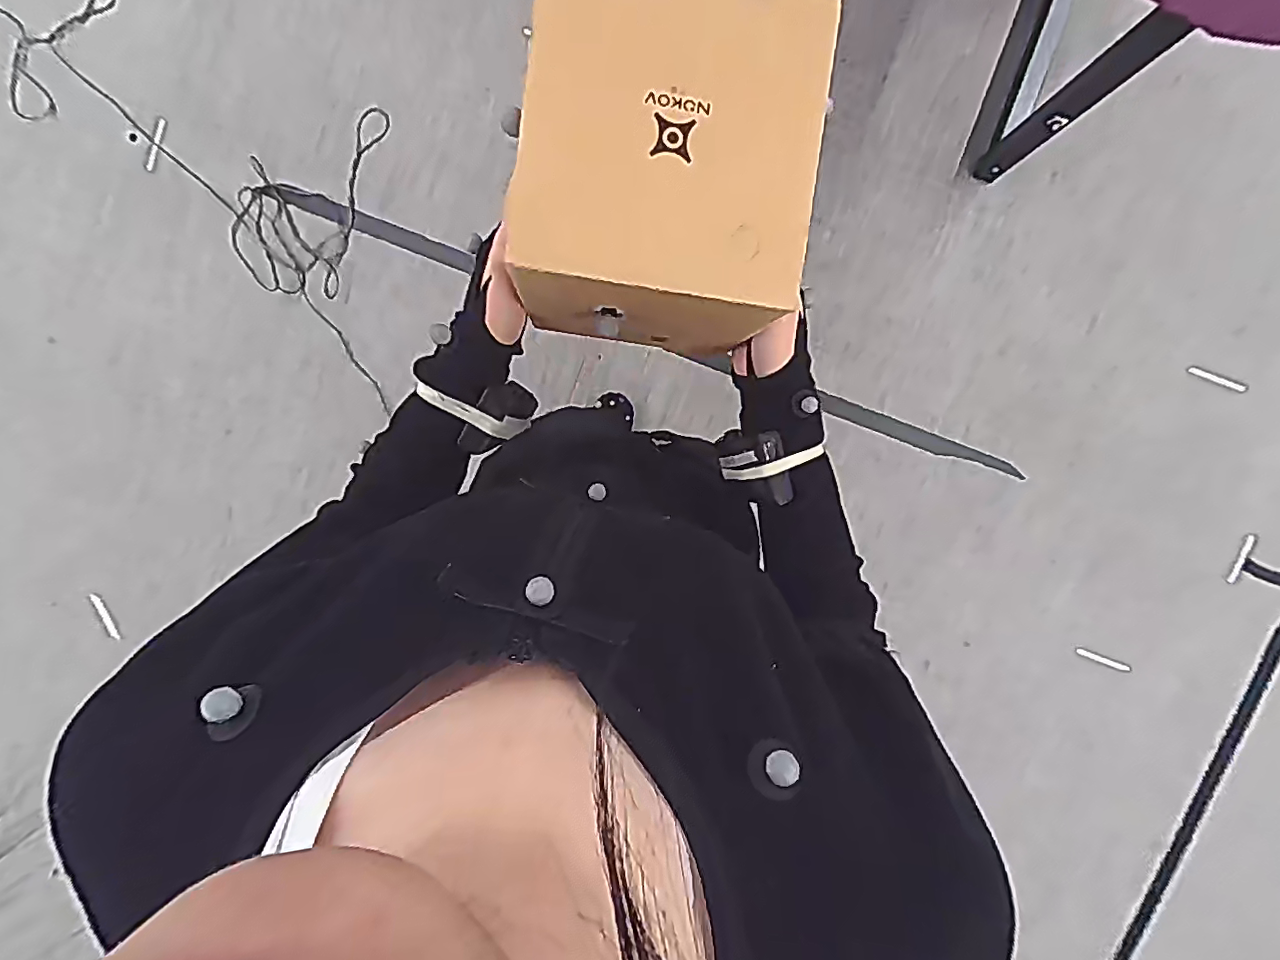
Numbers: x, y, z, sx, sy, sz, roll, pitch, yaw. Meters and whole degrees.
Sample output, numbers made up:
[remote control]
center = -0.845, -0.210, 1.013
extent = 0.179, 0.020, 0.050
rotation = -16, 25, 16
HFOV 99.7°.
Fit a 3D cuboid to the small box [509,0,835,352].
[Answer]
[small box]
center = 0.012, -0.197, 0.380
extent = 0.168, 0.176, 0.179
rotation = 7, 92, -6
